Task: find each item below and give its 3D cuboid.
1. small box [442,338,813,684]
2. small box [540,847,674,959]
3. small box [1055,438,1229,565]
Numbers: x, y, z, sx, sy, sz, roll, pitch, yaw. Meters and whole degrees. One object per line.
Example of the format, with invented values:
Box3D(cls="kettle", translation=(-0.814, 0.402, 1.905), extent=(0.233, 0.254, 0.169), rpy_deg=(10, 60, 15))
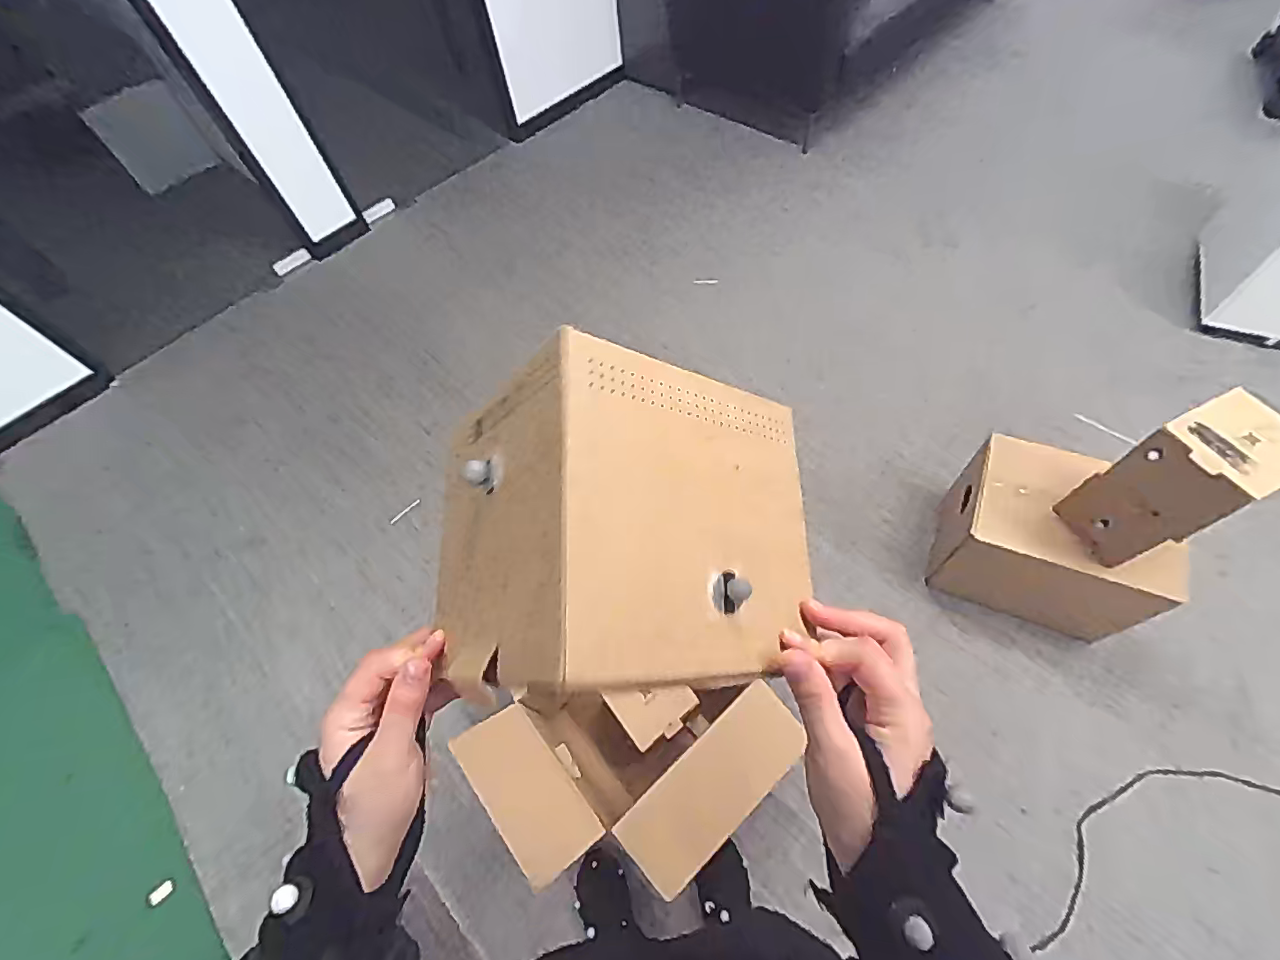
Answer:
Box3D(cls="small box", translation=(-0.012, 0.028, 0.353), extent=(0.179, 0.168, 0.176), rpy_deg=(8, 72, -37))
Box3D(cls="small box", translation=(-0.058, 0.869, 1.067), extent=(0.176, 0.168, 0.179), rpy_deg=(43, 43, -2))
Box3D(cls="small box", translation=(1.013, 0.051, 1.118), extent=(0.179, 0.176, 0.168), rpy_deg=(-25, 60, -7))
